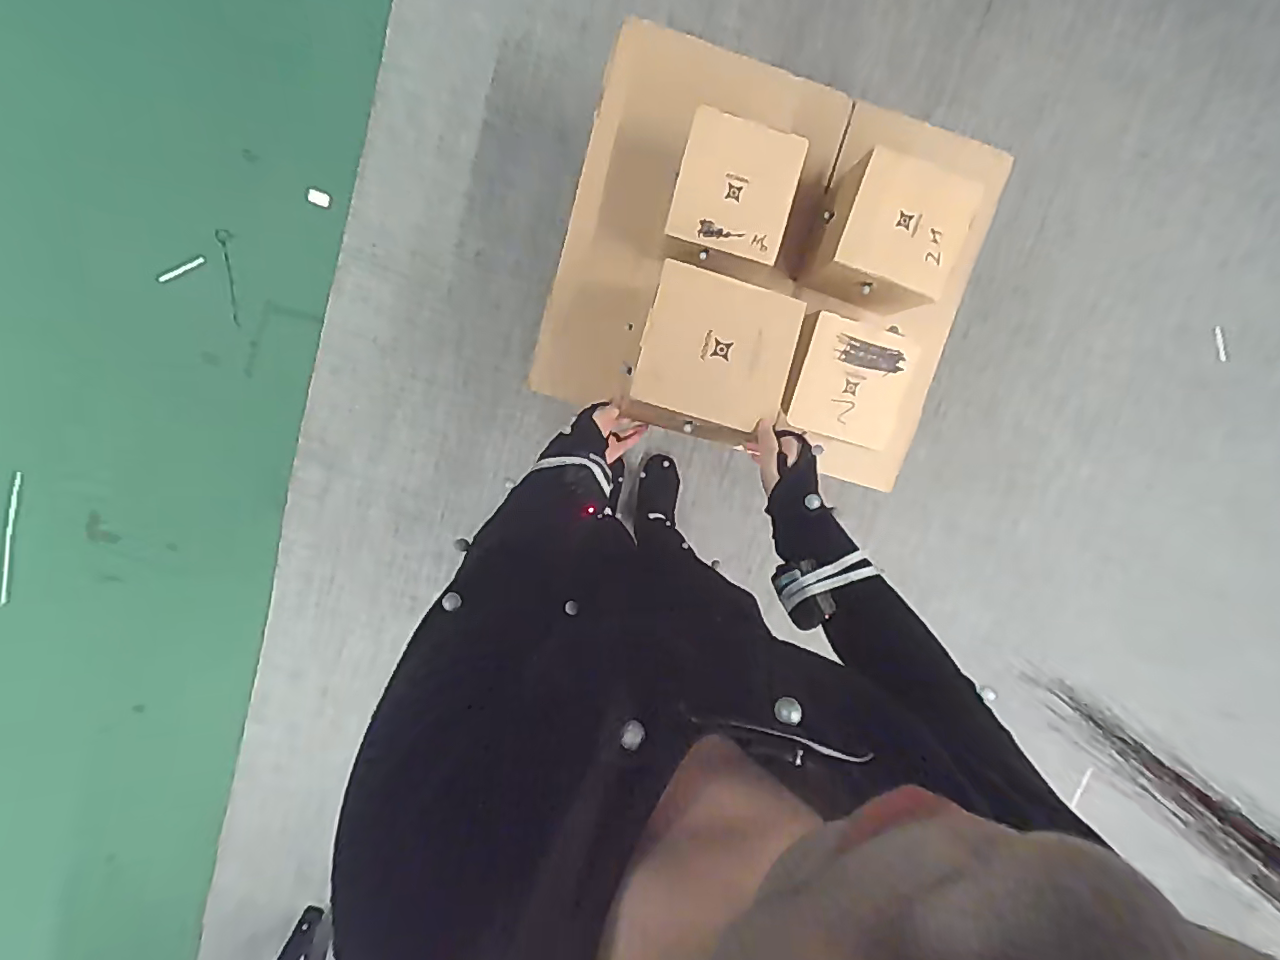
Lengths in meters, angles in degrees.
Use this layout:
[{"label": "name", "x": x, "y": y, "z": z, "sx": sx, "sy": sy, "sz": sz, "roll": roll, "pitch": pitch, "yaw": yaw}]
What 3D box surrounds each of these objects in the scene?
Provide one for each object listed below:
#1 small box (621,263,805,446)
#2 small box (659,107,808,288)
[{"label": "small box", "x": 0.079, "y": -0.144, "z": 0.692, "sx": 0.179, "sy": 0.176, "sz": 0.168, "roll": 16, "pitch": 89, "yaw": -5}, {"label": "small box", "x": 0.130, "y": -0.414, "z": 0.825, "sx": 0.168, "sy": 0.176, "sz": 0.179, "roll": 15, "pitch": 98, "yaw": -3}]
